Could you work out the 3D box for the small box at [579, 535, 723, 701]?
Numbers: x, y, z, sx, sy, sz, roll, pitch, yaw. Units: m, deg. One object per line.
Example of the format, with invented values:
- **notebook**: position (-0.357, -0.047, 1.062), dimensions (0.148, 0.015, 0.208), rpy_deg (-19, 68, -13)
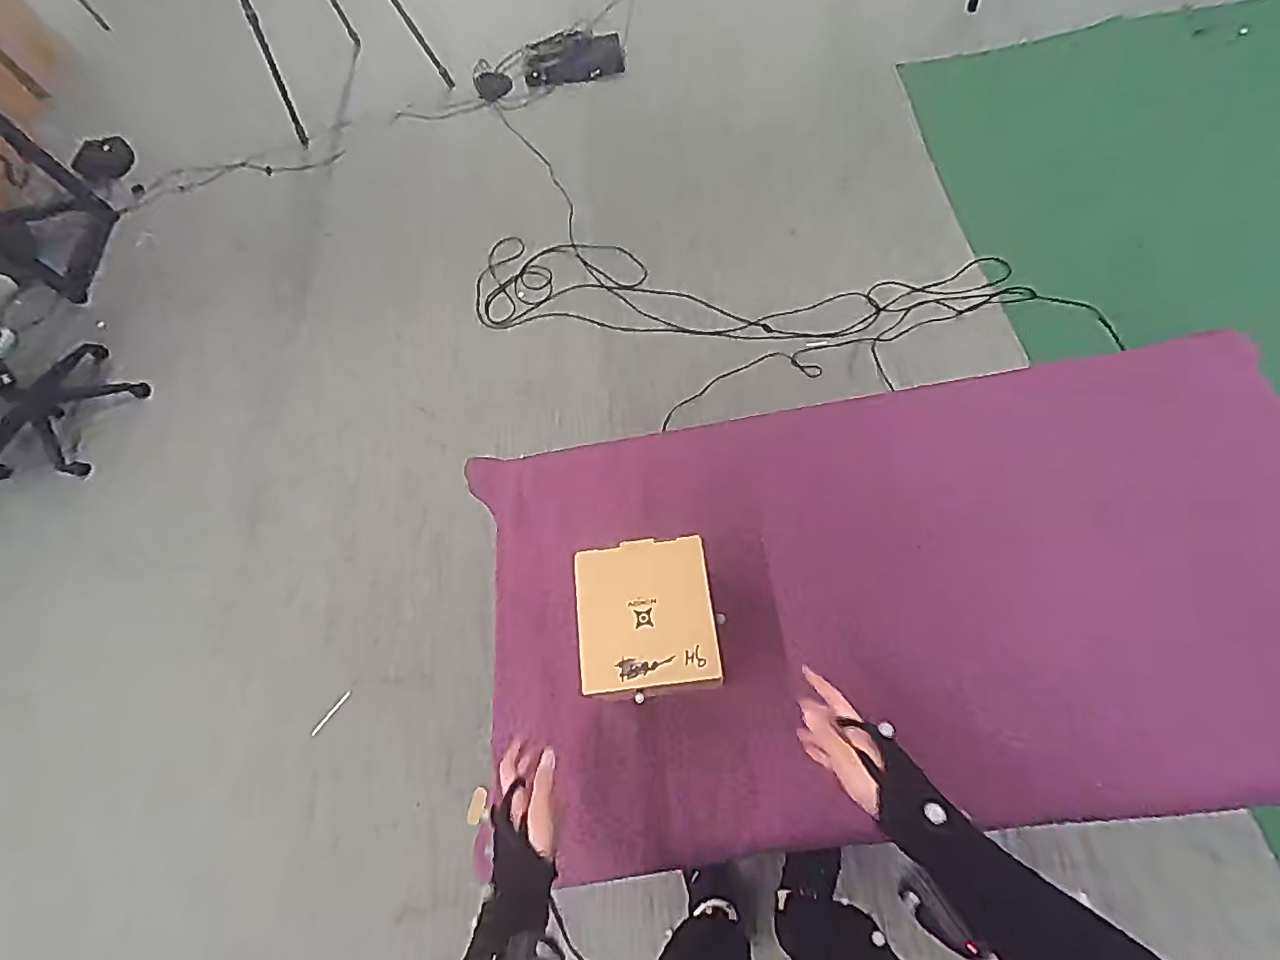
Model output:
- **small box**: position (0.017, 0.192, 0.728), dimensions (0.168, 0.176, 0.179), rpy_deg (-8, 64, 5)
